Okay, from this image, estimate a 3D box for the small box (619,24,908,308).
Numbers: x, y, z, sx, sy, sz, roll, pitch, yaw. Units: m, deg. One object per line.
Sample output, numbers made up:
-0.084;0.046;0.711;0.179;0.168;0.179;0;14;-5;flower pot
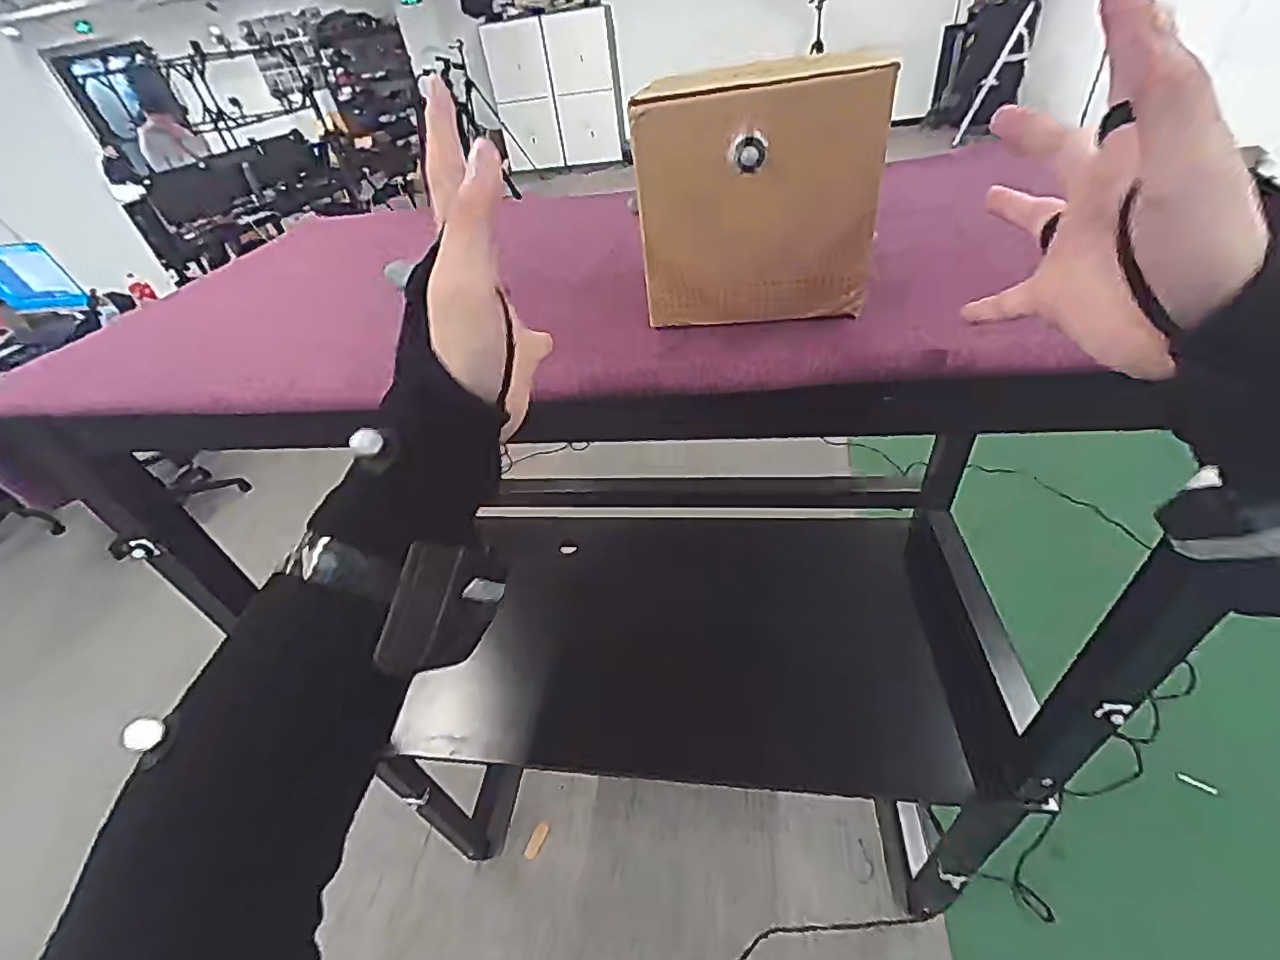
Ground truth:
0.092;-0.249;0.436;0.179;0.176;0.168;3;41;11;small box
